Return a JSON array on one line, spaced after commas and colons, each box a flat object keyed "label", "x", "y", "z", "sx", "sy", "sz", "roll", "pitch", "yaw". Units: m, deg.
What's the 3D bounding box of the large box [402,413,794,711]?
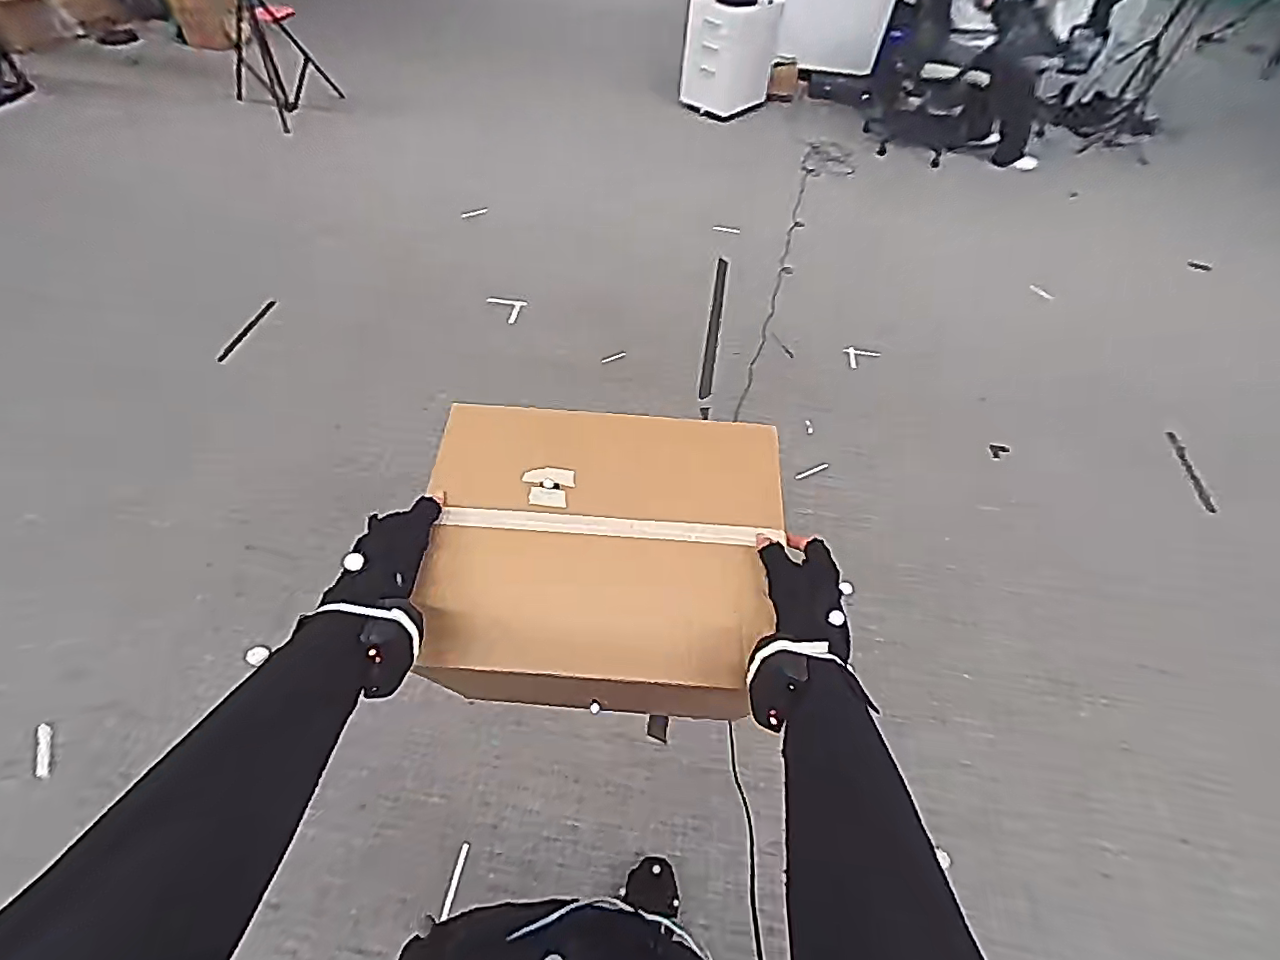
[{"label": "large box", "x": -0.035, "y": 0.130, "z": 0.742, "sx": 0.408, "sy": 0.320, "sz": 0.320, "roll": 4, "pitch": 61, "yaw": 1}]
